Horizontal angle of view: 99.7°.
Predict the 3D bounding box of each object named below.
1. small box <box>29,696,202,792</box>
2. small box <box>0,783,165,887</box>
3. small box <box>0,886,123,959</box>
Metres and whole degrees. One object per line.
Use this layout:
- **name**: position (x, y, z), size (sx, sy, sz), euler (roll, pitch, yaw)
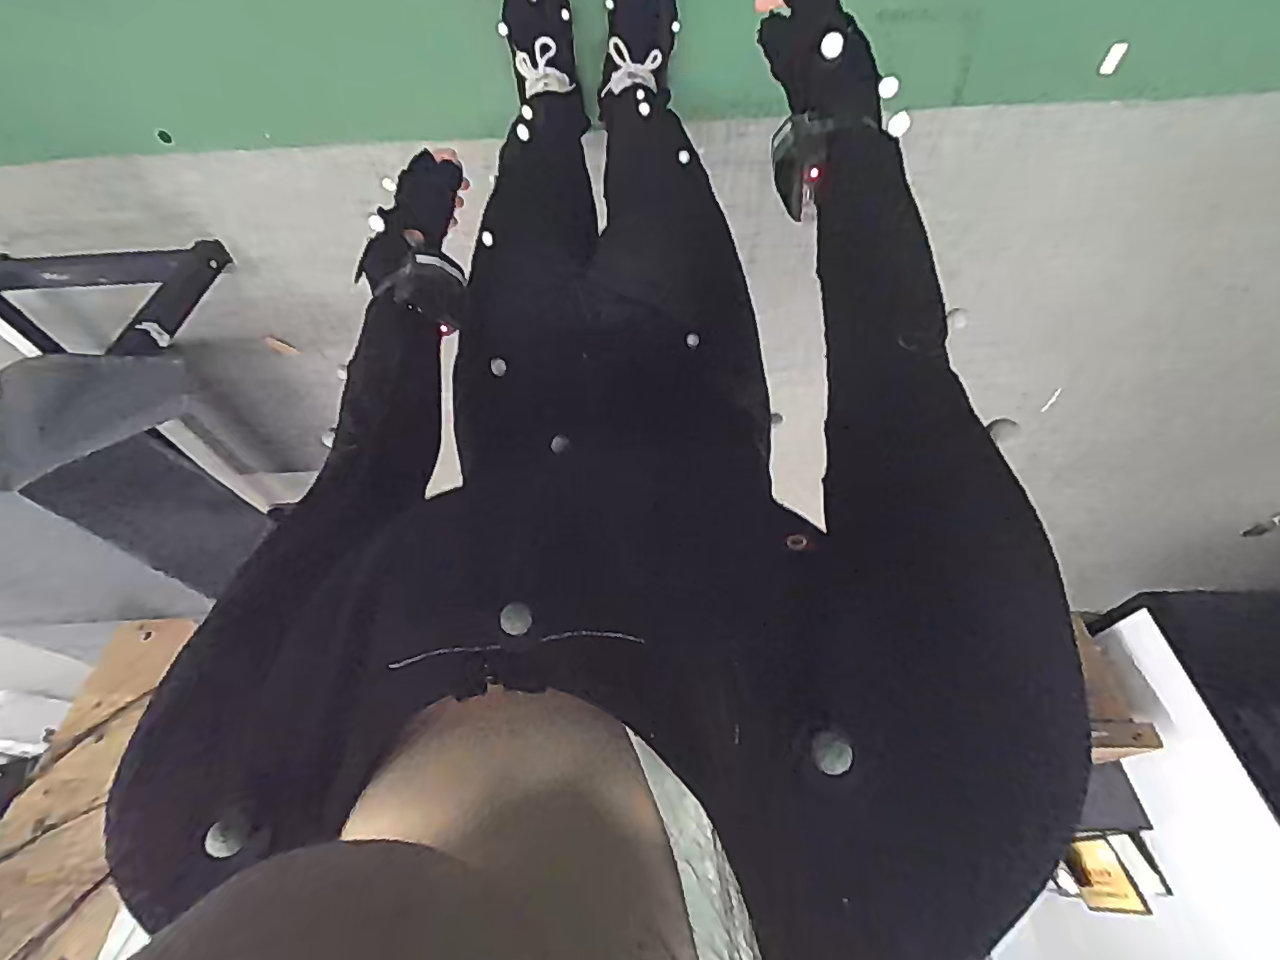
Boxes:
- **small box**: position (-1.118, 0.573, 1.172), size (0.168, 0.176, 0.179), euler (-3, 144, 2)
- **small box**: position (-1.120, 0.706, 1.077), size (0.168, 0.176, 0.179), euler (-2, 143, 1)
- **small box**: position (-1.120, 0.842, 0.983), size (0.168, 0.176, 0.179), euler (-3, 143, 2)
